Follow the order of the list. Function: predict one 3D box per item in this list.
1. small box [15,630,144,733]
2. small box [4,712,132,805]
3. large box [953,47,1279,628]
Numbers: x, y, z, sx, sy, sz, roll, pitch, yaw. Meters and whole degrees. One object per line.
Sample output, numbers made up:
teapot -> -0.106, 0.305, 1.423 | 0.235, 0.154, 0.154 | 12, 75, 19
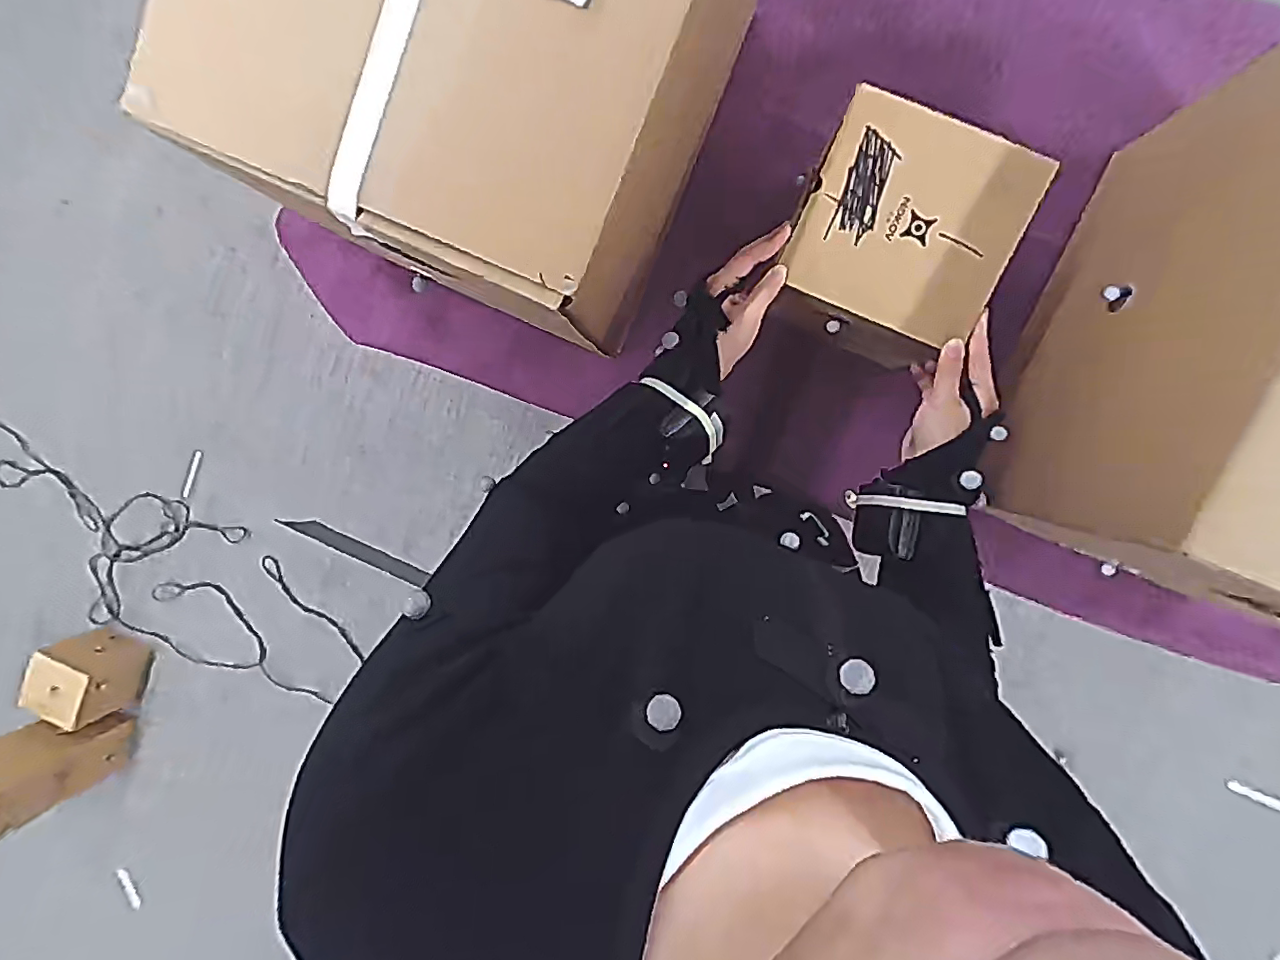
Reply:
small box -> -1.526, 0.543, 1.485 | 0.168, 0.176, 0.179 | 25, 99, 2
small box -> -1.601, 0.761, 1.520 | 0.179, 0.176, 0.168 | 17, 98, 3
large box -> 0.547, -0.089, 0.439 | 0.320, 0.320, 0.408 | 23, 96, 2
